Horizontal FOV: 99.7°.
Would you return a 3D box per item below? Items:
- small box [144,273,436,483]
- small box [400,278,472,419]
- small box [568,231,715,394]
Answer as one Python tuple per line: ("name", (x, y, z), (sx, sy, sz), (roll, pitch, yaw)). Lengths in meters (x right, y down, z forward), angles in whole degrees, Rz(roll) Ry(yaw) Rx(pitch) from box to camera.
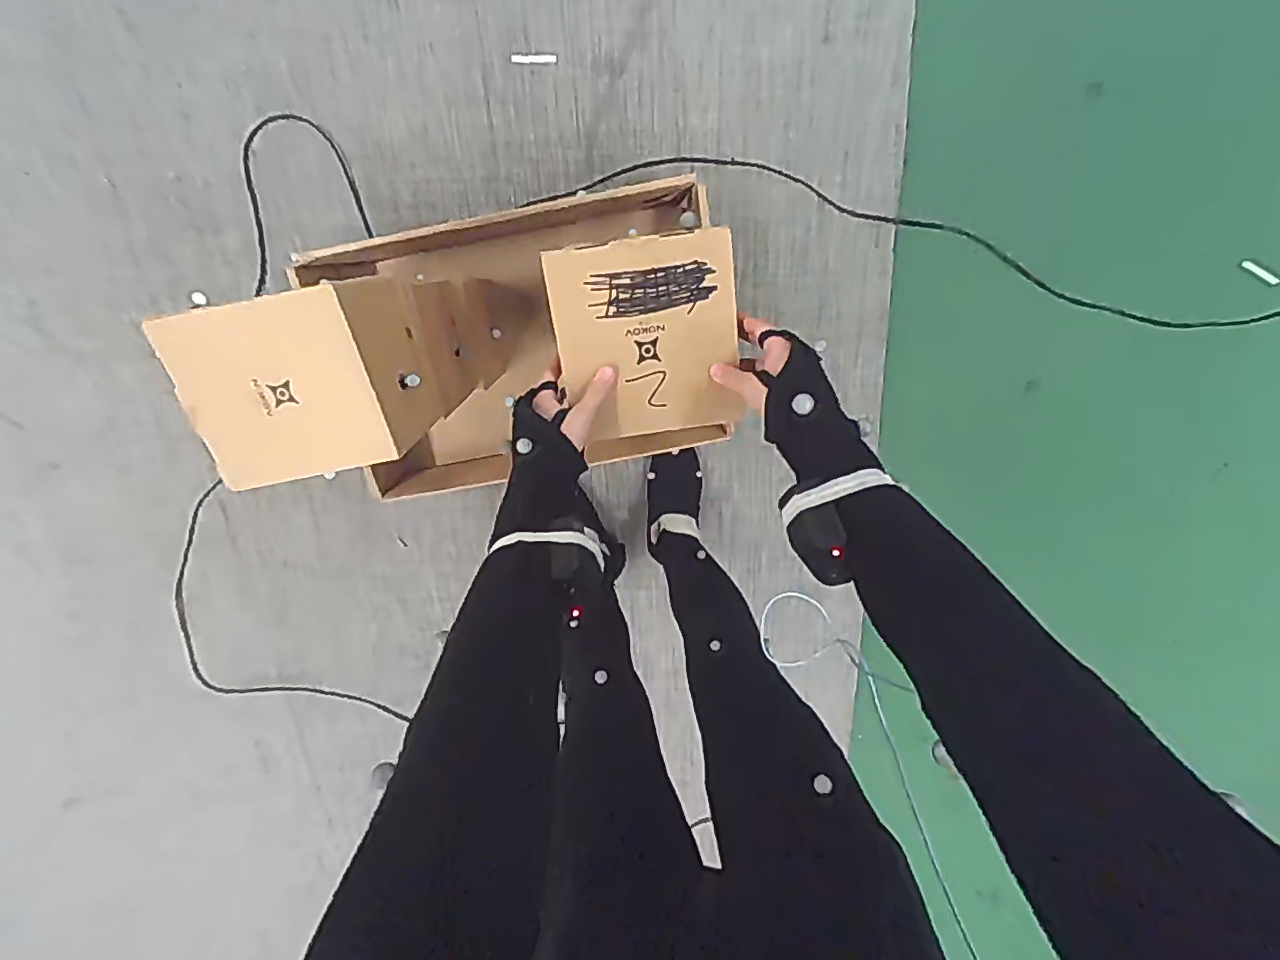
("small box", (-0.332, -0.116, 0.564), (0.179, 0.176, 0.168), (-10, 112, 2))
("small box", (-0.341, -0.173, 0.716), (0.179, 0.176, 0.168), (-6, 112, -2))
("small box", (0.003, -0.222, 0.715), (0.168, 0.176, 0.179), (-6, 110, -1))
